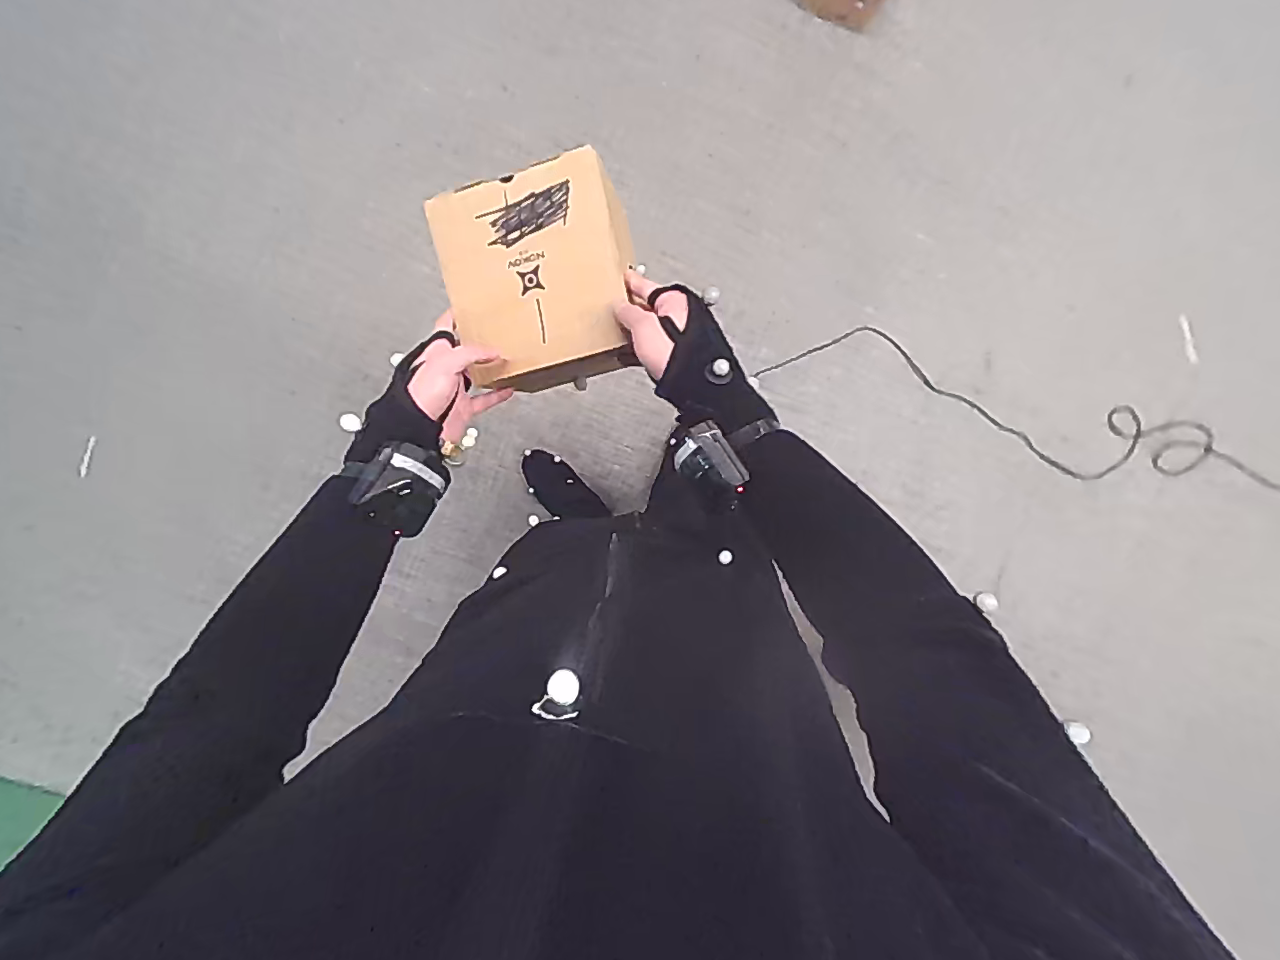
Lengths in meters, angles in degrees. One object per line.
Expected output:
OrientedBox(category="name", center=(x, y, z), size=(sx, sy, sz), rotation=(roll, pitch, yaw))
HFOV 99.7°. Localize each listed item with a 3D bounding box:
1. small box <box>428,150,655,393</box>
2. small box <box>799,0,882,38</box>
OrientedBox(category="small box", center=(-0.088, -0.197, 0.568), size=(0.168, 0.176, 0.179), rotation=(-12, 94, 11))
OrientedBox(category="small box", center=(0.469, -1.137, 1.191), size=(0.168, 0.176, 0.179), rotation=(16, 95, -6))
